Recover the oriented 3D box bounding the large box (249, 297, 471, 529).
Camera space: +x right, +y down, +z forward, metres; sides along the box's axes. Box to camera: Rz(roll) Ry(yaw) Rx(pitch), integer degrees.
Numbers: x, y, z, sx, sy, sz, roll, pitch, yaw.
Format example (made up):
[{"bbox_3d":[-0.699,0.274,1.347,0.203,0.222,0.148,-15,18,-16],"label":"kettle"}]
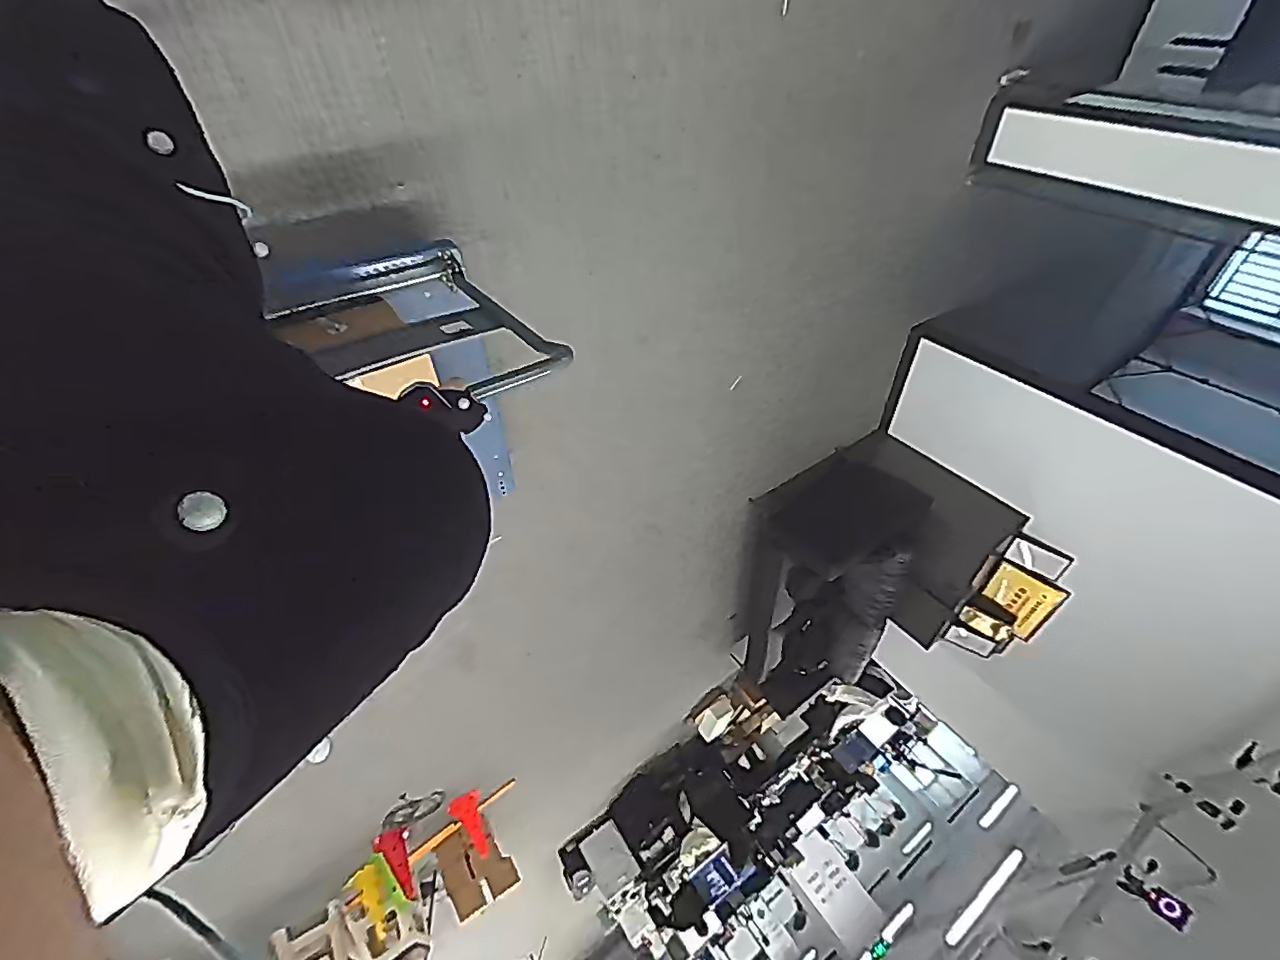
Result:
[{"bbox_3d":[-0.661,-0.166,1.314,0.320,0.320,0.408,-27,140,-24],"label":"large box"}]
